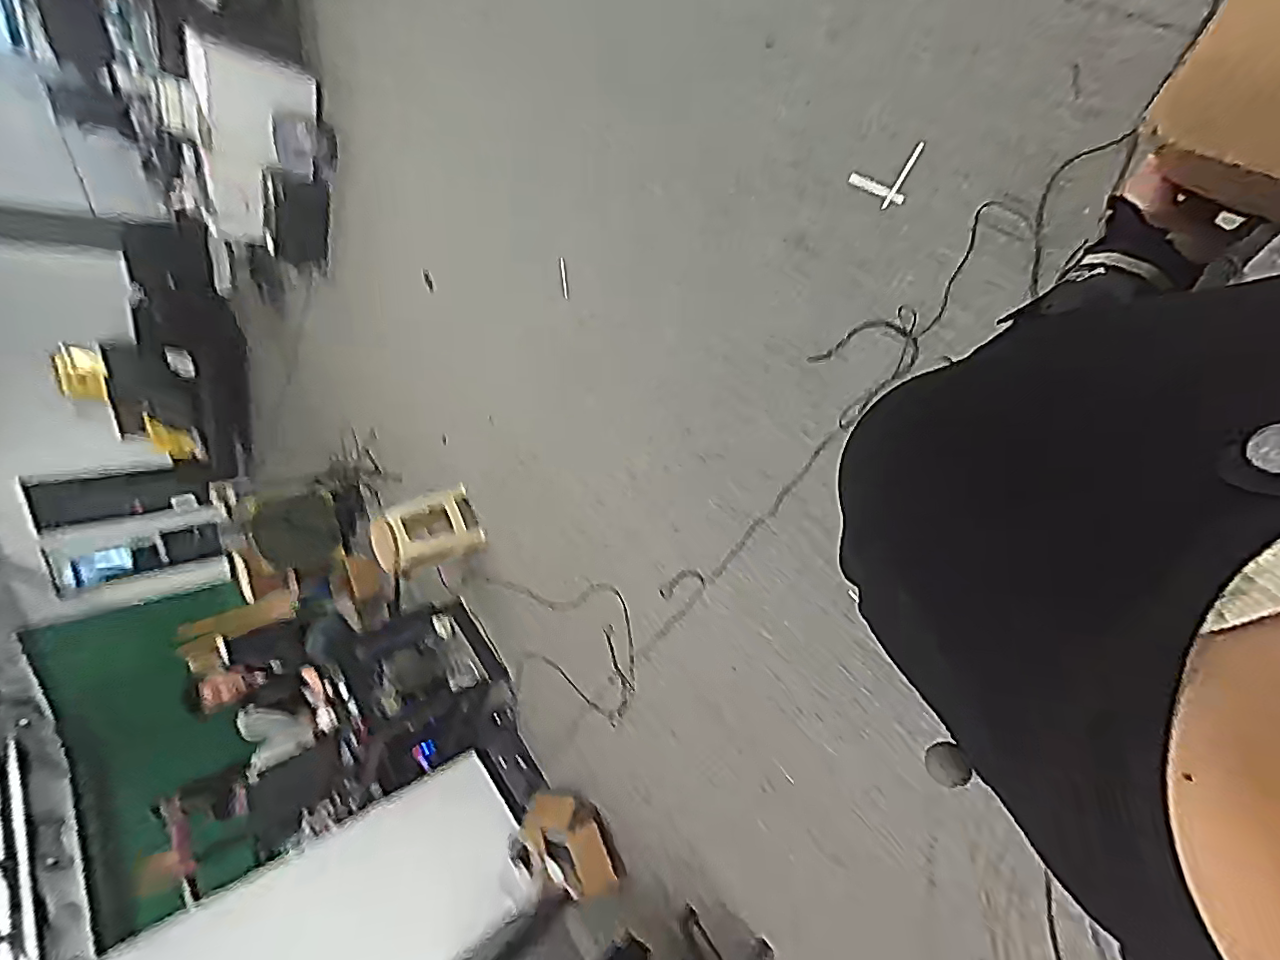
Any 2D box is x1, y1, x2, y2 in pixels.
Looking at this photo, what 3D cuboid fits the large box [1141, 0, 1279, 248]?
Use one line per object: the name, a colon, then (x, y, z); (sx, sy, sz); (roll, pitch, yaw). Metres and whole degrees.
large box: (0.538, -0.210, 0.208); (0.408, 0.320, 0.320); (43, 132, 28)
